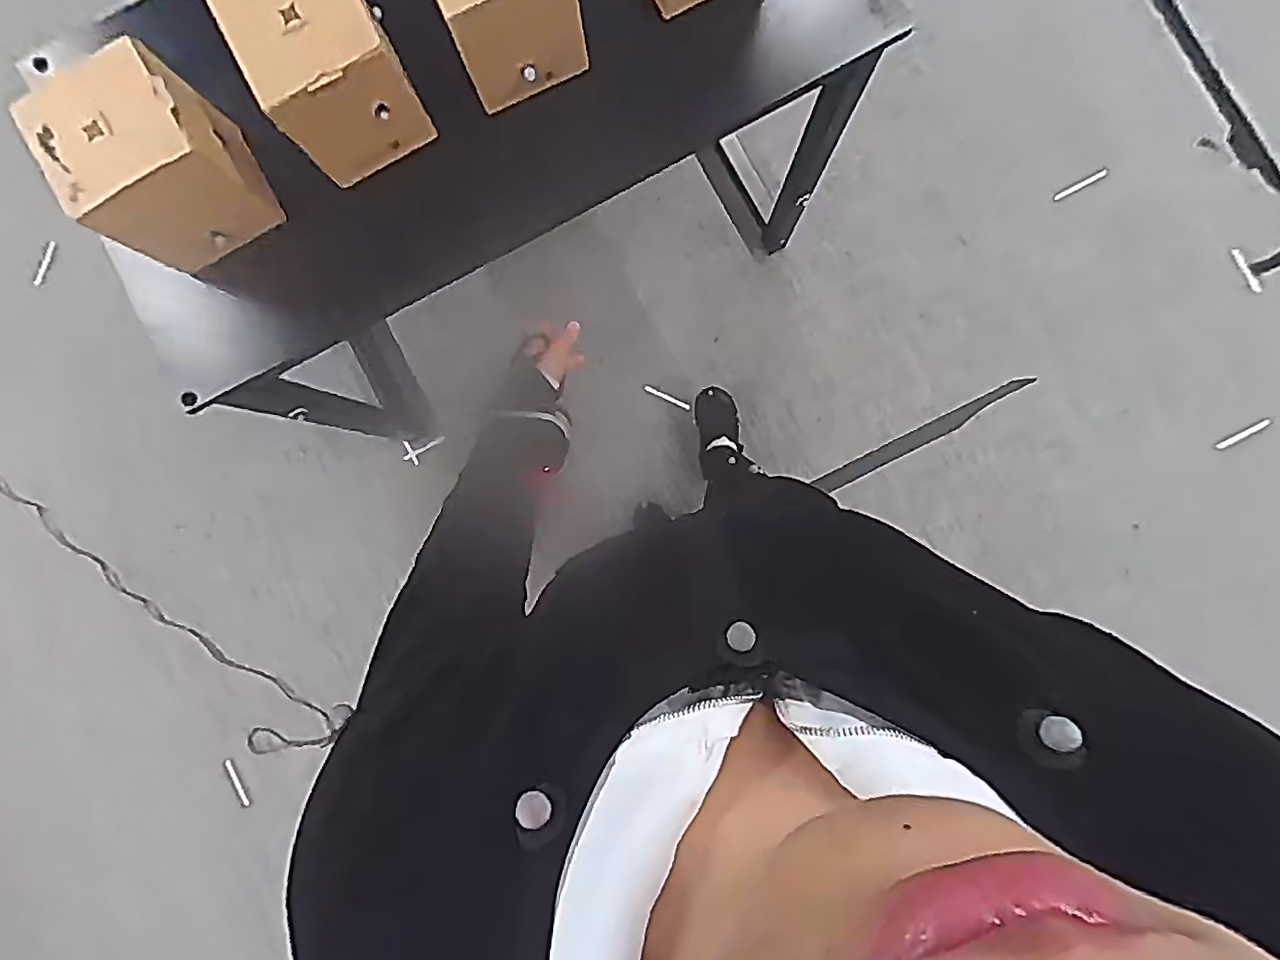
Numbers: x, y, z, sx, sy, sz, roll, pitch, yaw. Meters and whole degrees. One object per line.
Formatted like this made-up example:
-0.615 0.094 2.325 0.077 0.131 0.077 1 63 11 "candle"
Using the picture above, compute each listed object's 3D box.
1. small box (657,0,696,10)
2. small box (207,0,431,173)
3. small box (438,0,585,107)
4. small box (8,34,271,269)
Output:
0.074 -0.787 0.712 0.179 0.176 0.168 -26 88 1 "small box"
-0.413 -0.551 0.723 0.168 0.176 0.179 -28 87 0 "small box"
-0.186 -0.654 0.717 0.168 0.176 0.179 -24 89 1 "small box"
-0.641 -0.421 0.724 0.179 0.176 0.168 -30 88 0 "small box"
